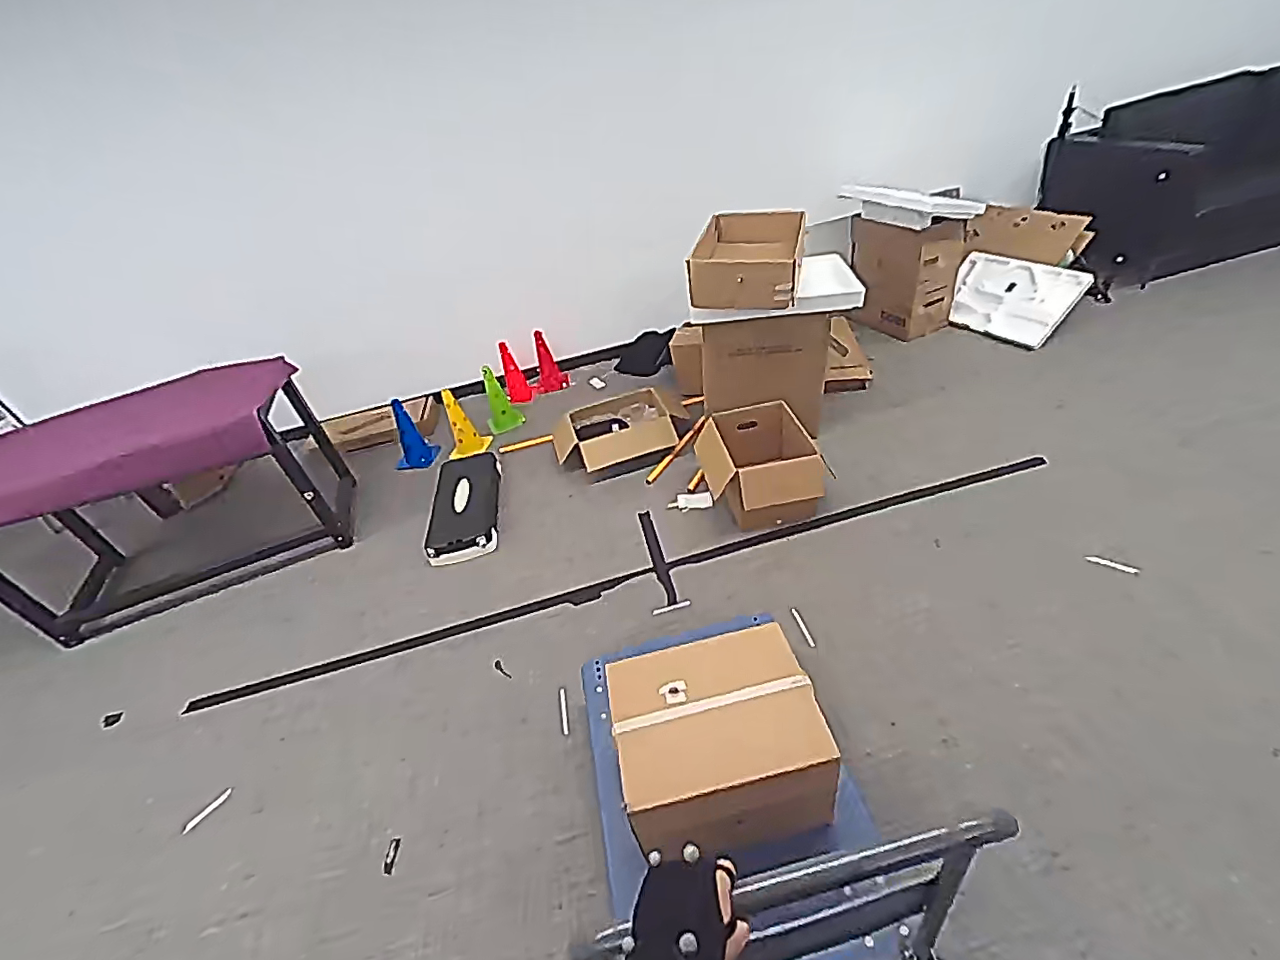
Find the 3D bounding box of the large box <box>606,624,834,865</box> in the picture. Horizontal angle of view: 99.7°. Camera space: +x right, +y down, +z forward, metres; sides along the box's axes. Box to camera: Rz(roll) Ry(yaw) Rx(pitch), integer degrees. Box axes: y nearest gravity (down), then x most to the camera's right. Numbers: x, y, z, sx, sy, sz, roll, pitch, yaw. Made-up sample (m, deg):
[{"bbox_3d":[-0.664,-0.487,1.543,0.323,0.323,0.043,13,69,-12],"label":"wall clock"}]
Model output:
[{"bbox_3d":[0.169,0.580,1.196,0.408,0.320,0.320,-15,37,-2],"label":"large box"}]
